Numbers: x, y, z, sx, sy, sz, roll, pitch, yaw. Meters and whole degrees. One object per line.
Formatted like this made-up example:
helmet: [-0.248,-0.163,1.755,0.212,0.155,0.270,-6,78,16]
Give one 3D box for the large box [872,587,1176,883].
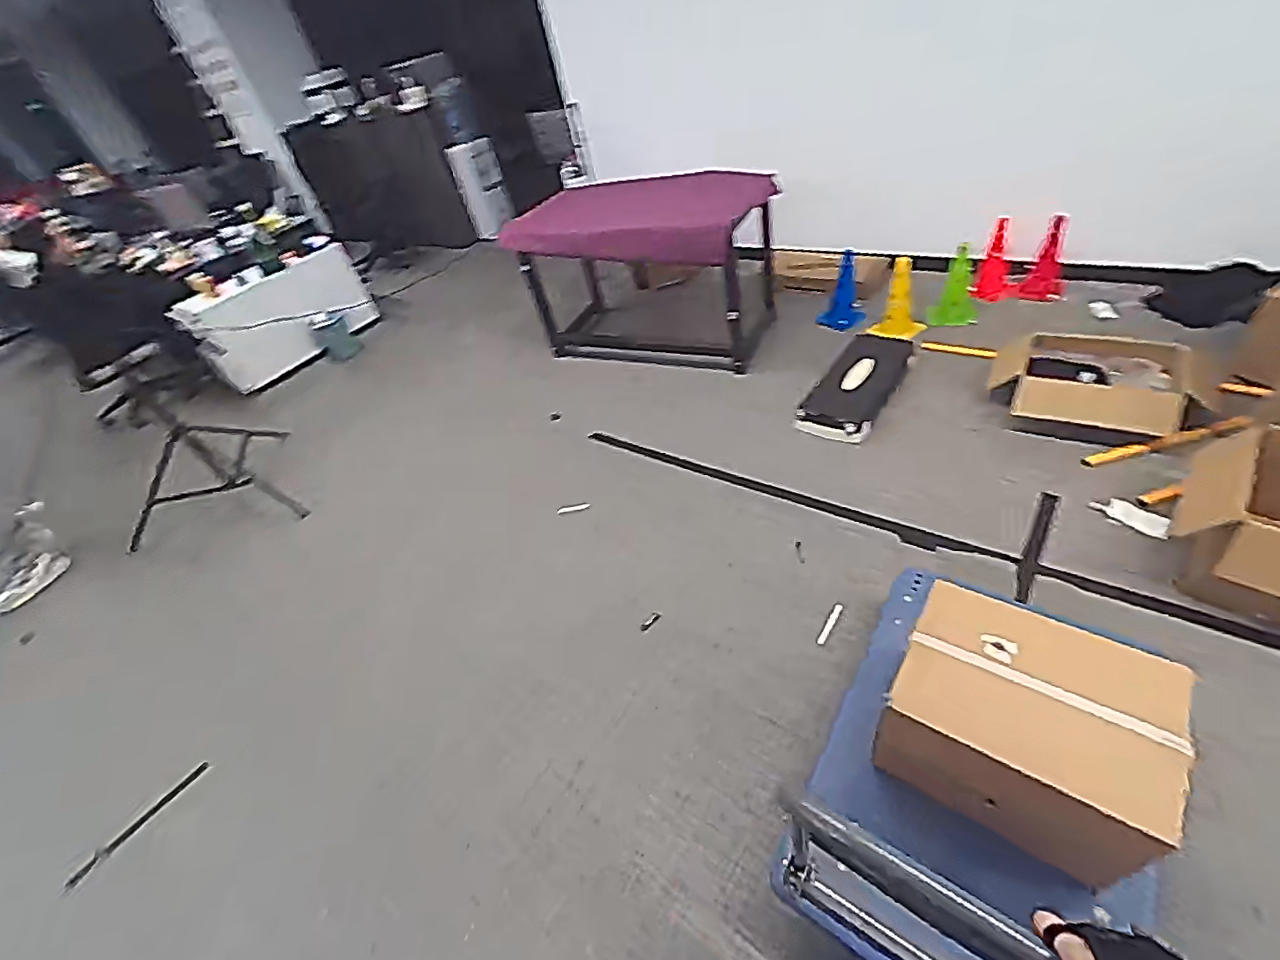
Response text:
large box: [0.719,0.482,1.061,0.408,0.320,0.320,19,52,34]
